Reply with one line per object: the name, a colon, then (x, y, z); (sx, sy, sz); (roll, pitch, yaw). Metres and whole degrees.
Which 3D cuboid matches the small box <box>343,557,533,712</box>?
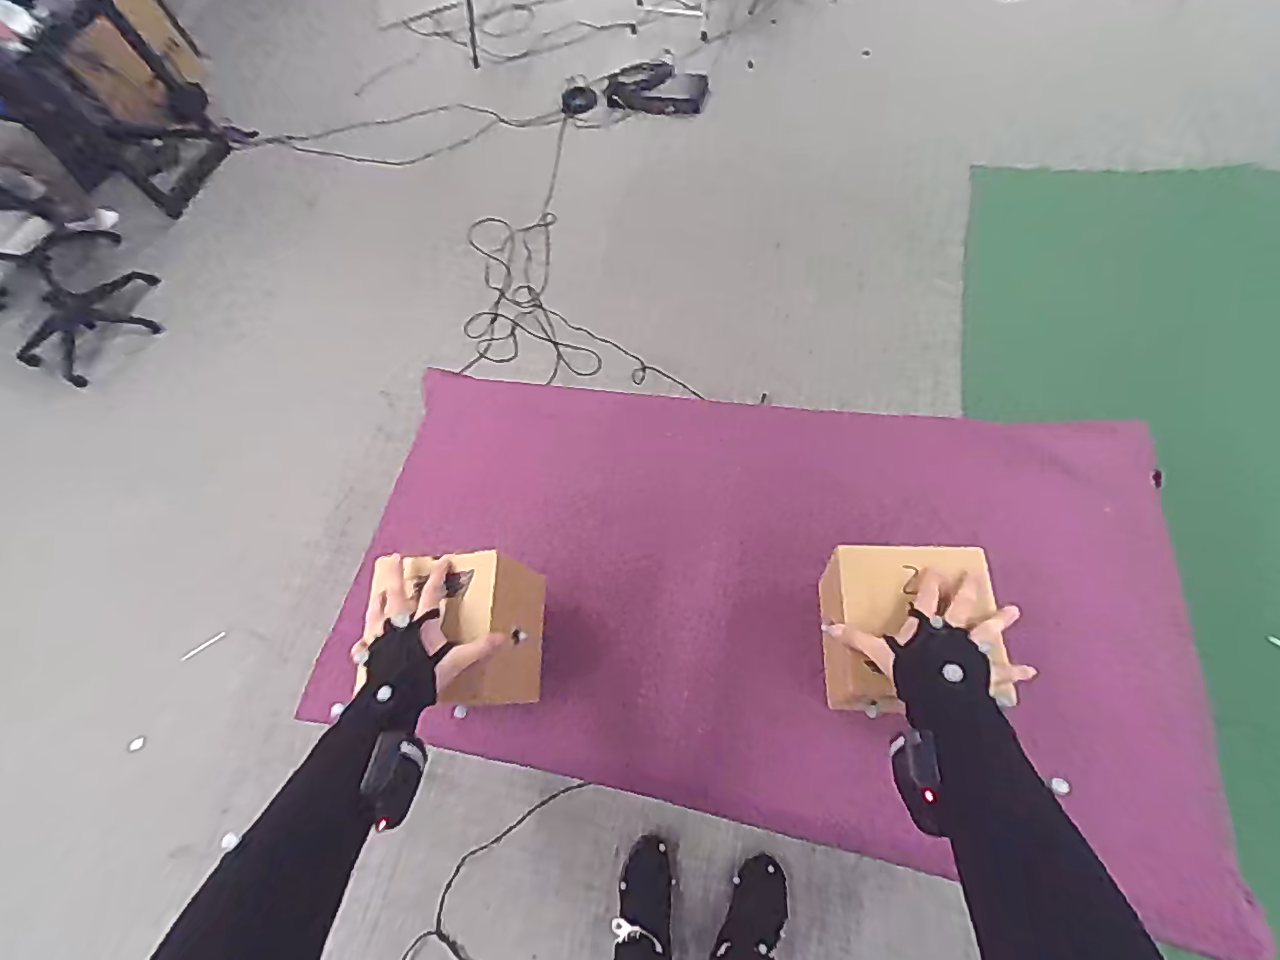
small box: (-0.248, 0.208, 0.711); (0.168, 0.176, 0.179); (-5, 69, 9)
